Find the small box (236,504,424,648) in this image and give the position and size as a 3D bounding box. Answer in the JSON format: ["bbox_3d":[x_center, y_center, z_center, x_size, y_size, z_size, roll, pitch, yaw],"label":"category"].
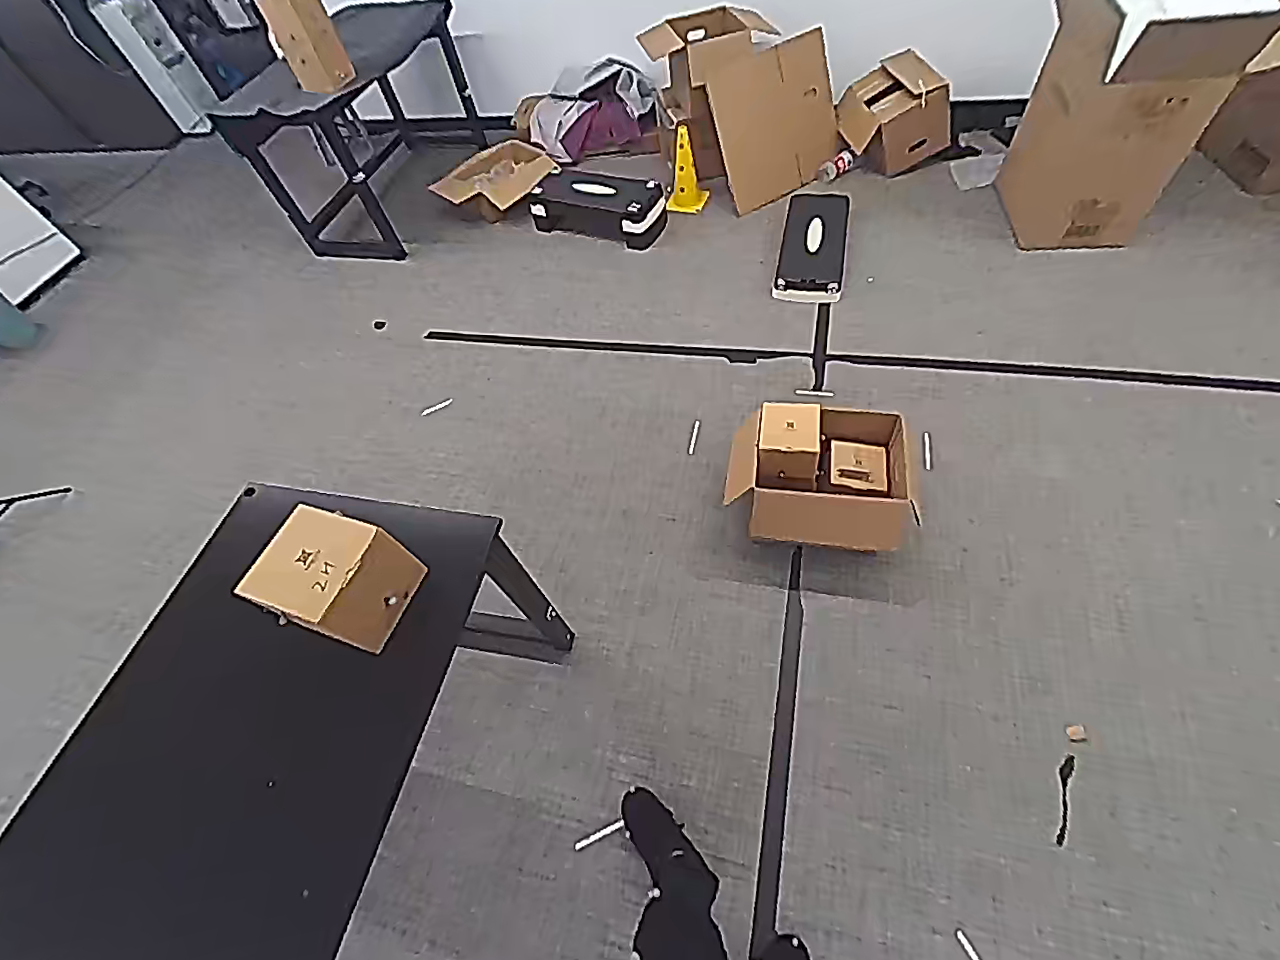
[{"bbox_3d":[-0.508,0.166,0.912,0.179,0.176,0.168,13,61,17],"label":"small box"}]
